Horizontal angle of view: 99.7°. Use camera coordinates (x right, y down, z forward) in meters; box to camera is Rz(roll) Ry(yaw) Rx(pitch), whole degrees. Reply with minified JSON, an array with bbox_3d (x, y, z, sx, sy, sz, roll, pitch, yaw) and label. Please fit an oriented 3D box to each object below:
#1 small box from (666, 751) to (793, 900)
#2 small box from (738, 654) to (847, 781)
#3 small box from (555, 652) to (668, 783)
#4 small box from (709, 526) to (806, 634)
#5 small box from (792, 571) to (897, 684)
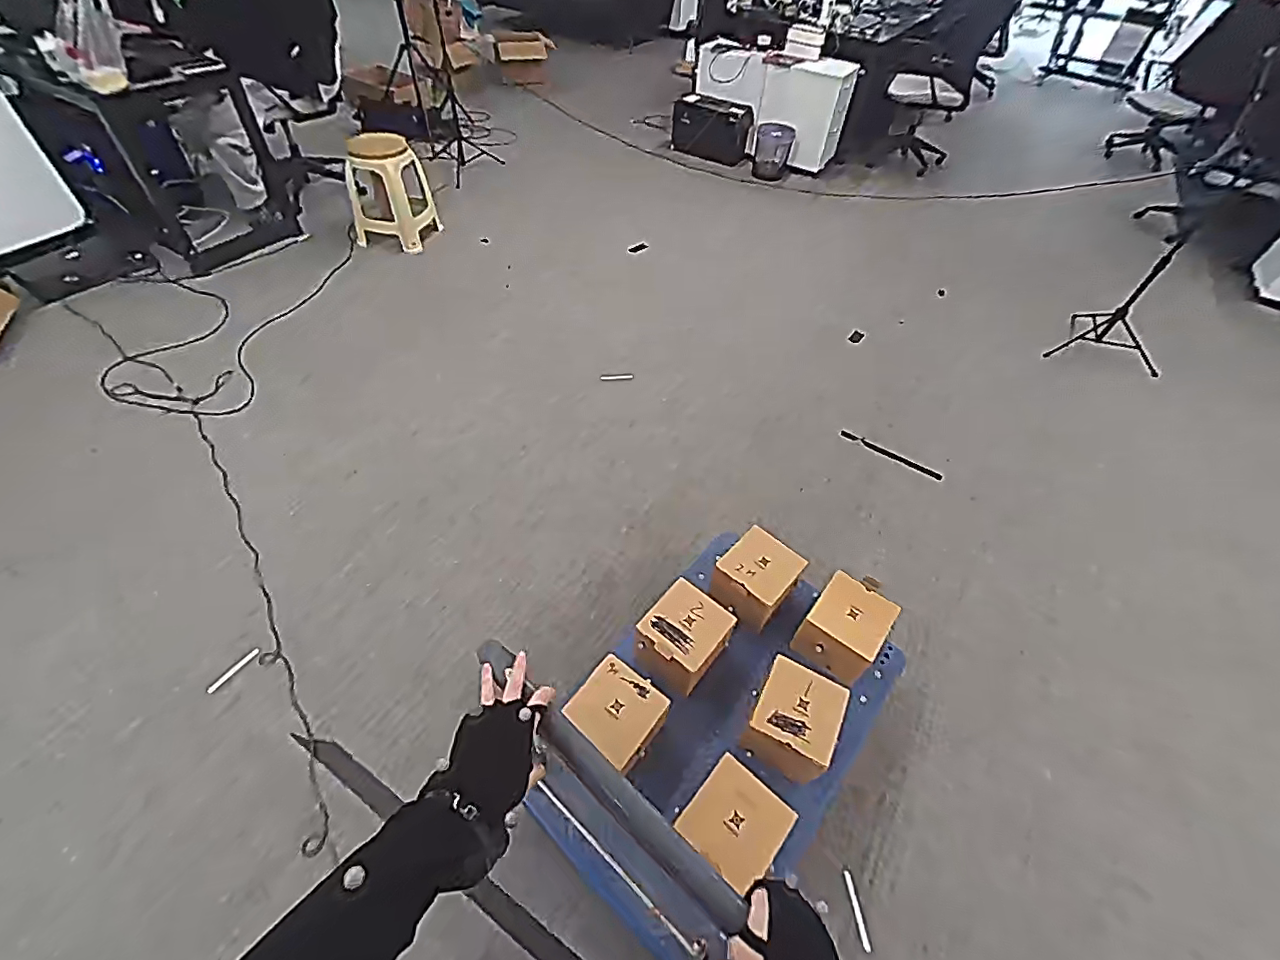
[{"bbox_3d":[0.165,0.674,1.050,0.168,0.176,0.179,37,56,23],"label":"small box"},{"bbox_3d":[0.326,0.525,1.186,0.168,0.176,0.179,25,52,16],"label":"small box"},{"bbox_3d":[-0.060,0.514,1.162,0.168,0.176,0.179,34,56,20],"label":"small box"},{"bbox_3d":[0.296,0.261,1.403,0.168,0.176,0.179,37,58,24],"label":"small box"},{"bbox_3d":[0.494,0.368,1.333,0.168,0.176,0.179,33,55,22],"label":"small box"}]
